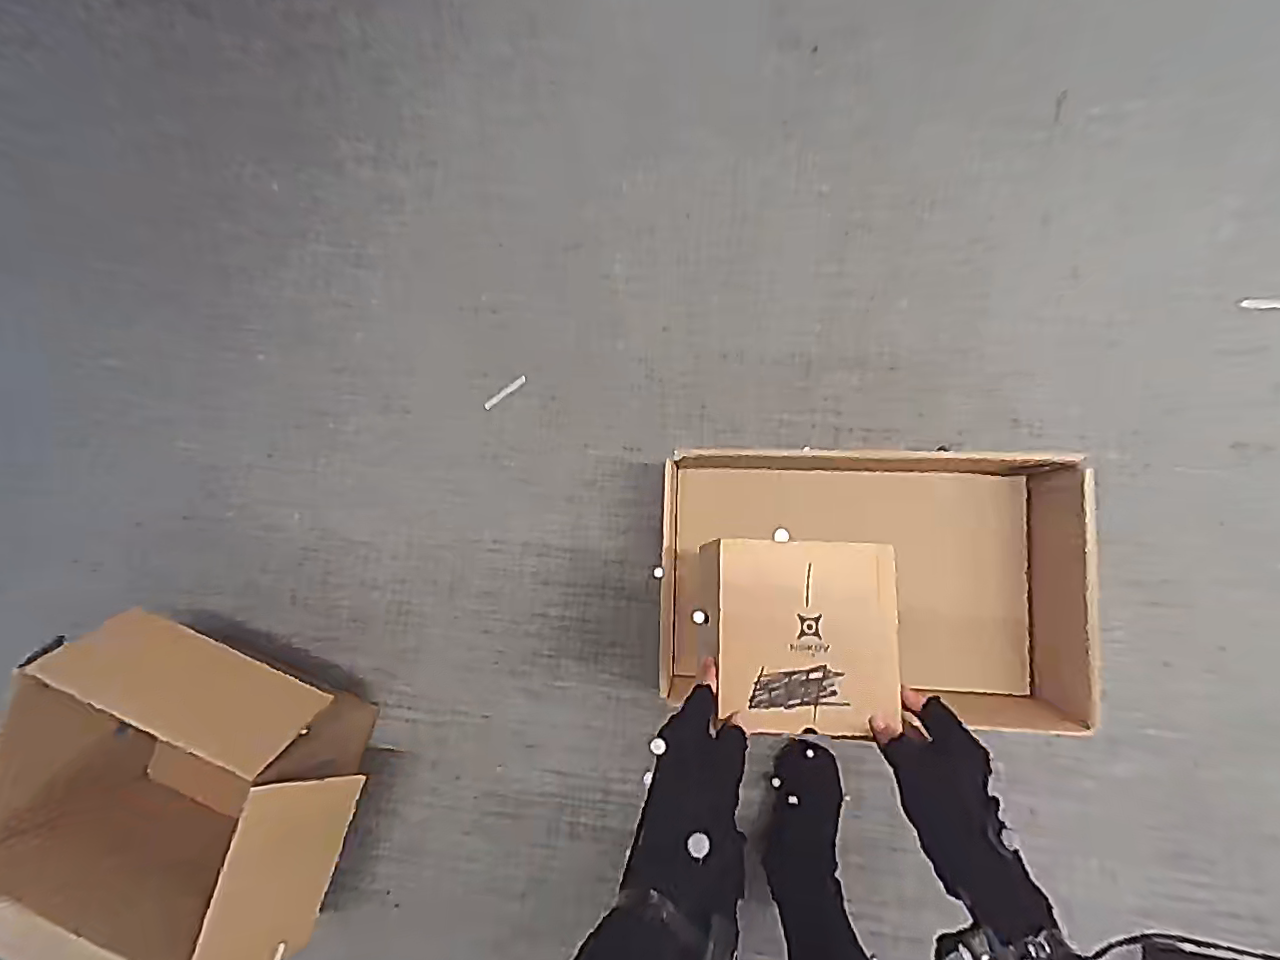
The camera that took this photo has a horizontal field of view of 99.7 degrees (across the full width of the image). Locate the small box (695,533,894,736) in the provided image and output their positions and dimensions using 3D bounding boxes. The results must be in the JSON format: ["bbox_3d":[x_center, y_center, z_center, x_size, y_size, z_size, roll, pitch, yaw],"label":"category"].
[{"bbox_3d":[0.150,0.152,0.574,0.168,0.176,0.179,2,80,0],"label":"small box"}]
